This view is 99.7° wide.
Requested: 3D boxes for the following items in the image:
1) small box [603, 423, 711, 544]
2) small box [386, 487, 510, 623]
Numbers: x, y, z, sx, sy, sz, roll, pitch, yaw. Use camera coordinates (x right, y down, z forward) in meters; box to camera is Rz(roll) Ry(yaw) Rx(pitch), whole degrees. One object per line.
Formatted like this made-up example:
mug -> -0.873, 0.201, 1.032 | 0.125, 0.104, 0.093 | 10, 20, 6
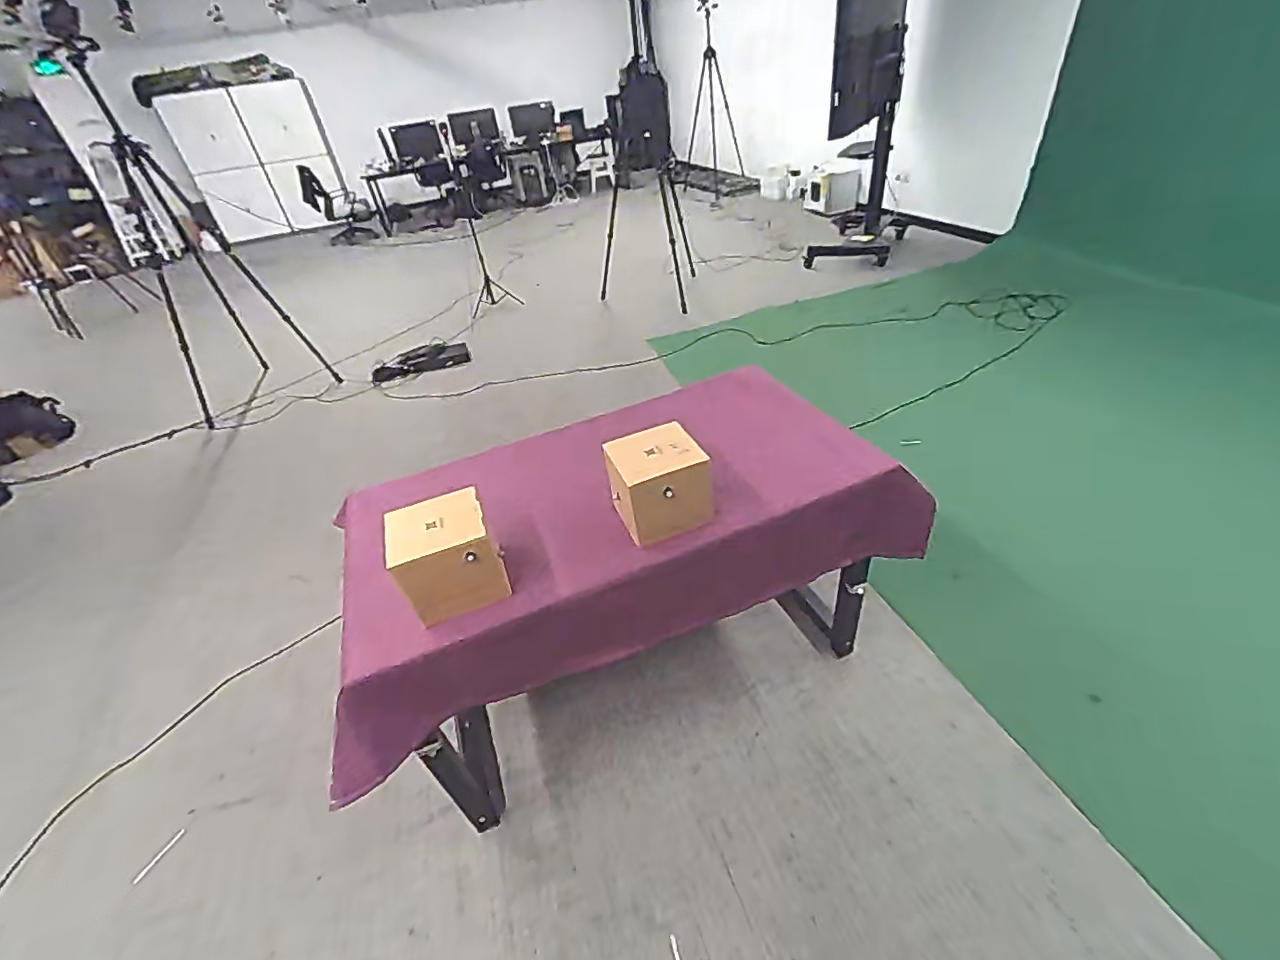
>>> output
small box -> 0.039, 0.009, 1.140 | 0.179, 0.176, 0.168 | -18, 39, -12
small box -> -0.368, 0.146, 1.043 | 0.179, 0.176, 0.168 | -18, 38, -14
